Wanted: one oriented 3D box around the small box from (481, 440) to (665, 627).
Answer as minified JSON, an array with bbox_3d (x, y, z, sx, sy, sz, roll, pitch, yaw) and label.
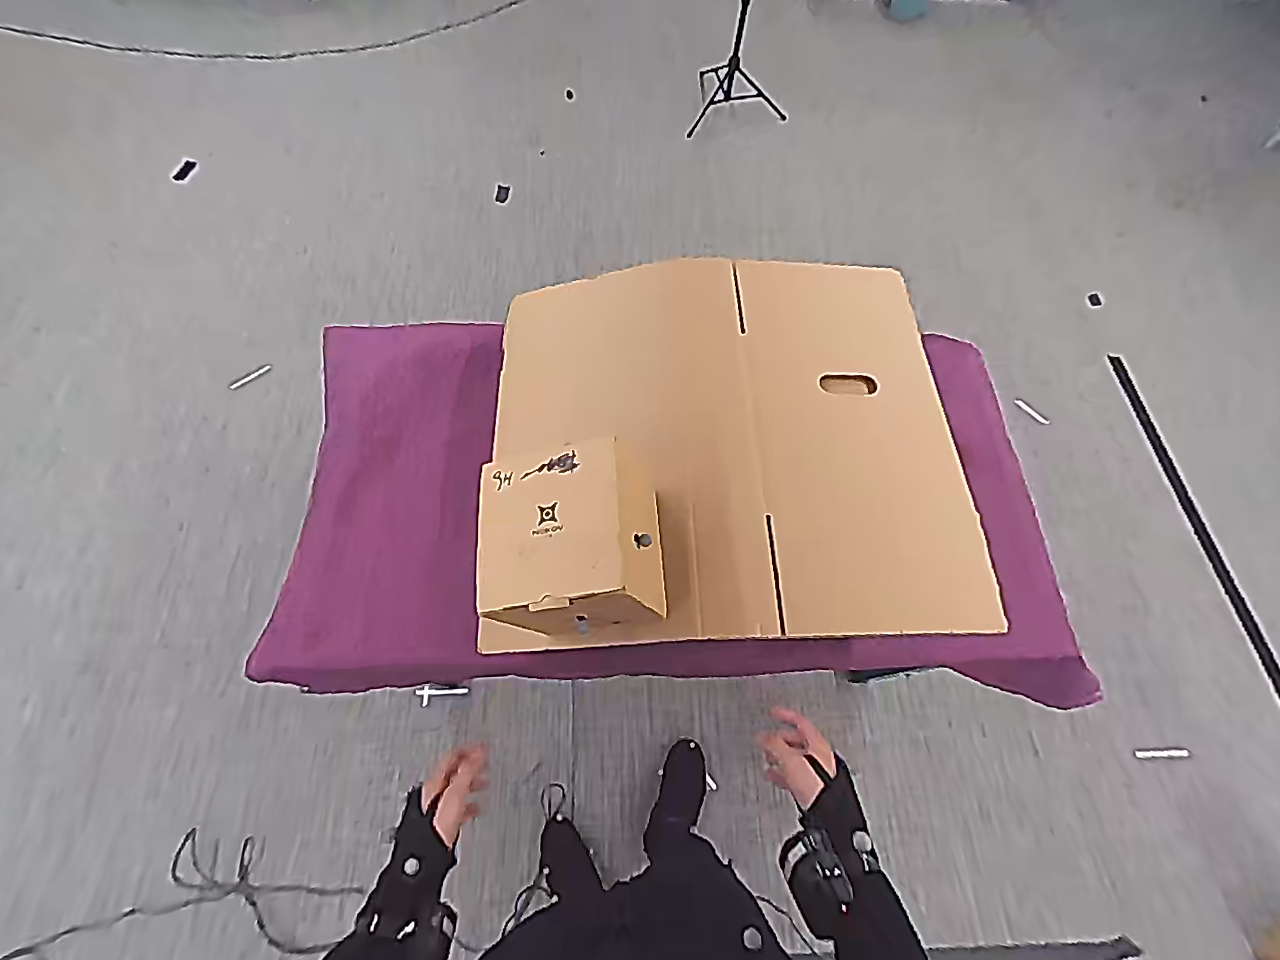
[{"bbox_3d":[-0.072,0.077,0.651,0.168,0.176,0.179,-11,65,13],"label":"small box"}]
